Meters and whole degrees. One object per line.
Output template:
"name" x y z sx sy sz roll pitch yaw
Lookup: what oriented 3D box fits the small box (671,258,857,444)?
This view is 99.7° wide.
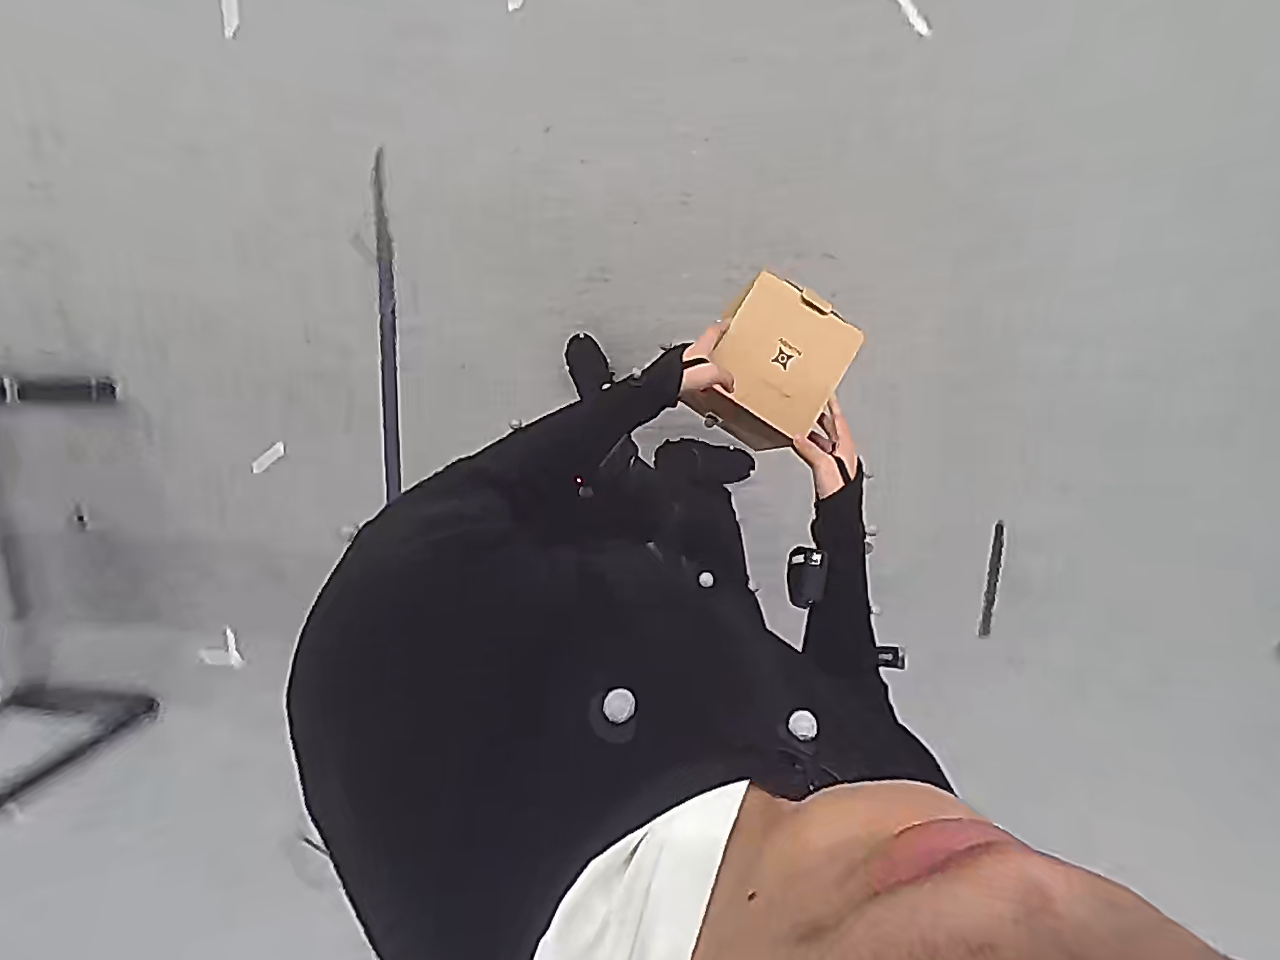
"small box" 0.160 -0.167 0.764 0.168 0.176 0.179 31 85 -7
